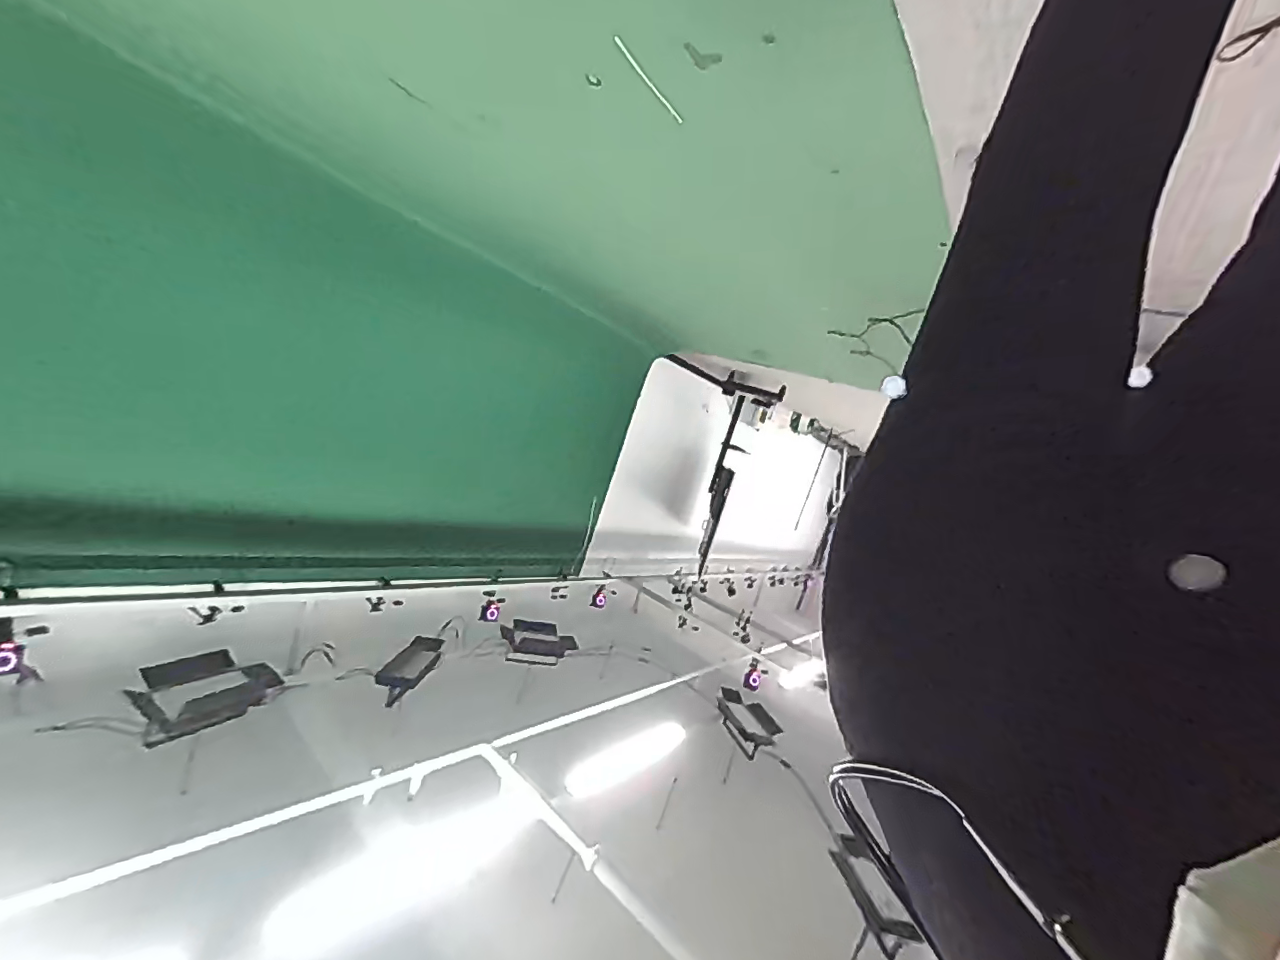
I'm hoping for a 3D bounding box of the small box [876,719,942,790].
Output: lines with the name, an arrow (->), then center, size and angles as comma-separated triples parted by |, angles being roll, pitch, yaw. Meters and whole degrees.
small box -> 1.044, 1.051, 2.092 | 0.168, 0.176, 0.179 | 23, -172, 38
